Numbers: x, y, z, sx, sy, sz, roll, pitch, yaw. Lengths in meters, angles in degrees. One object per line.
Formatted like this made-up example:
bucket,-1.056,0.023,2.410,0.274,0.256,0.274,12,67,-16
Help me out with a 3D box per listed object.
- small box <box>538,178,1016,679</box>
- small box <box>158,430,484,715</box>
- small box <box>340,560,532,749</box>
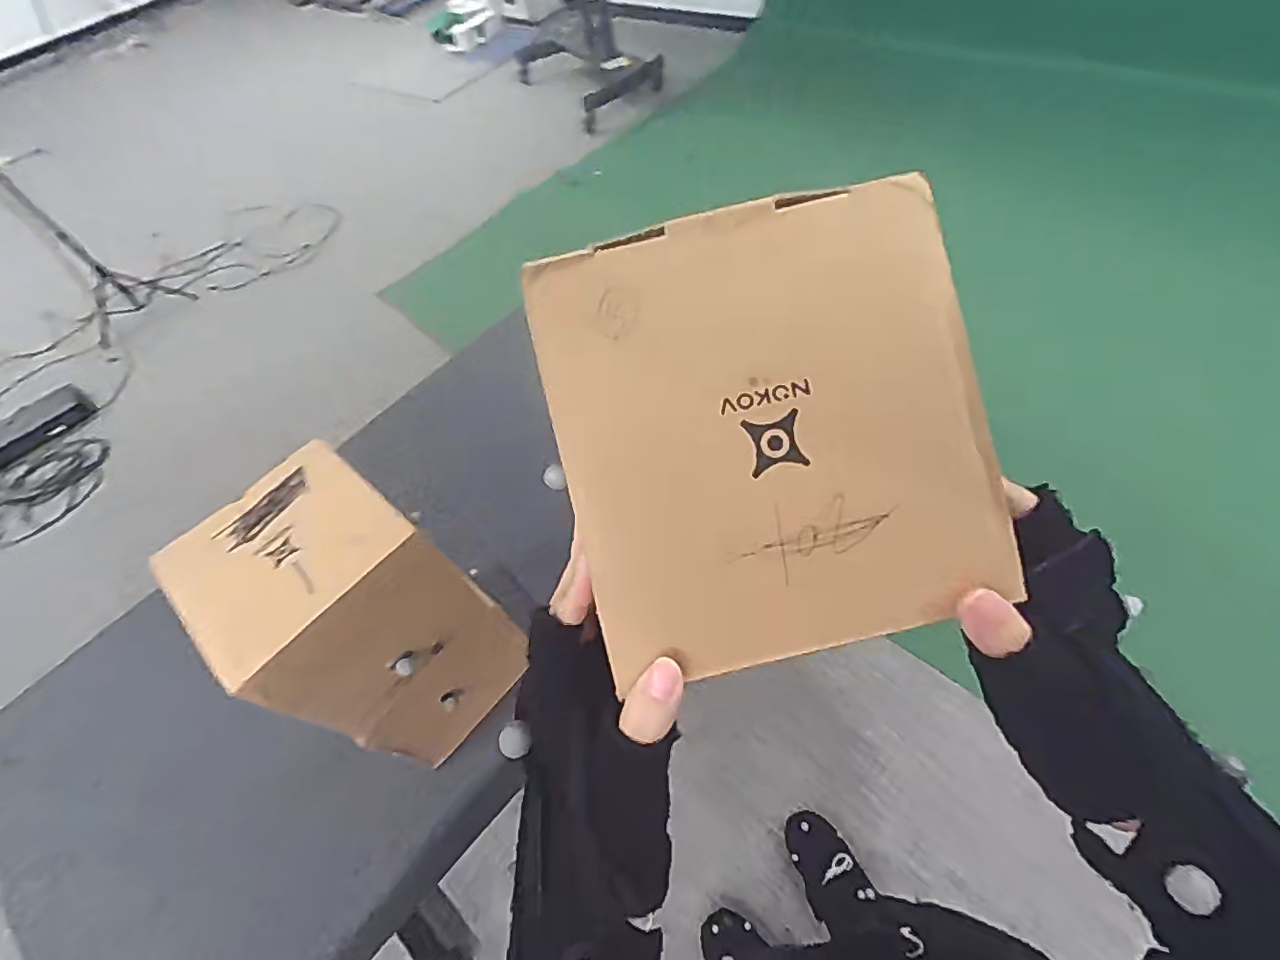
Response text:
small box,0.053,-0.021,0.293,0.168,0.176,0.179,-12,91,0
small box,-0.284,0.091,0.512,0.179,0.176,0.168,34,67,28
small box,-0.258,0.188,0.644,0.168,0.176,0.179,33,67,28
